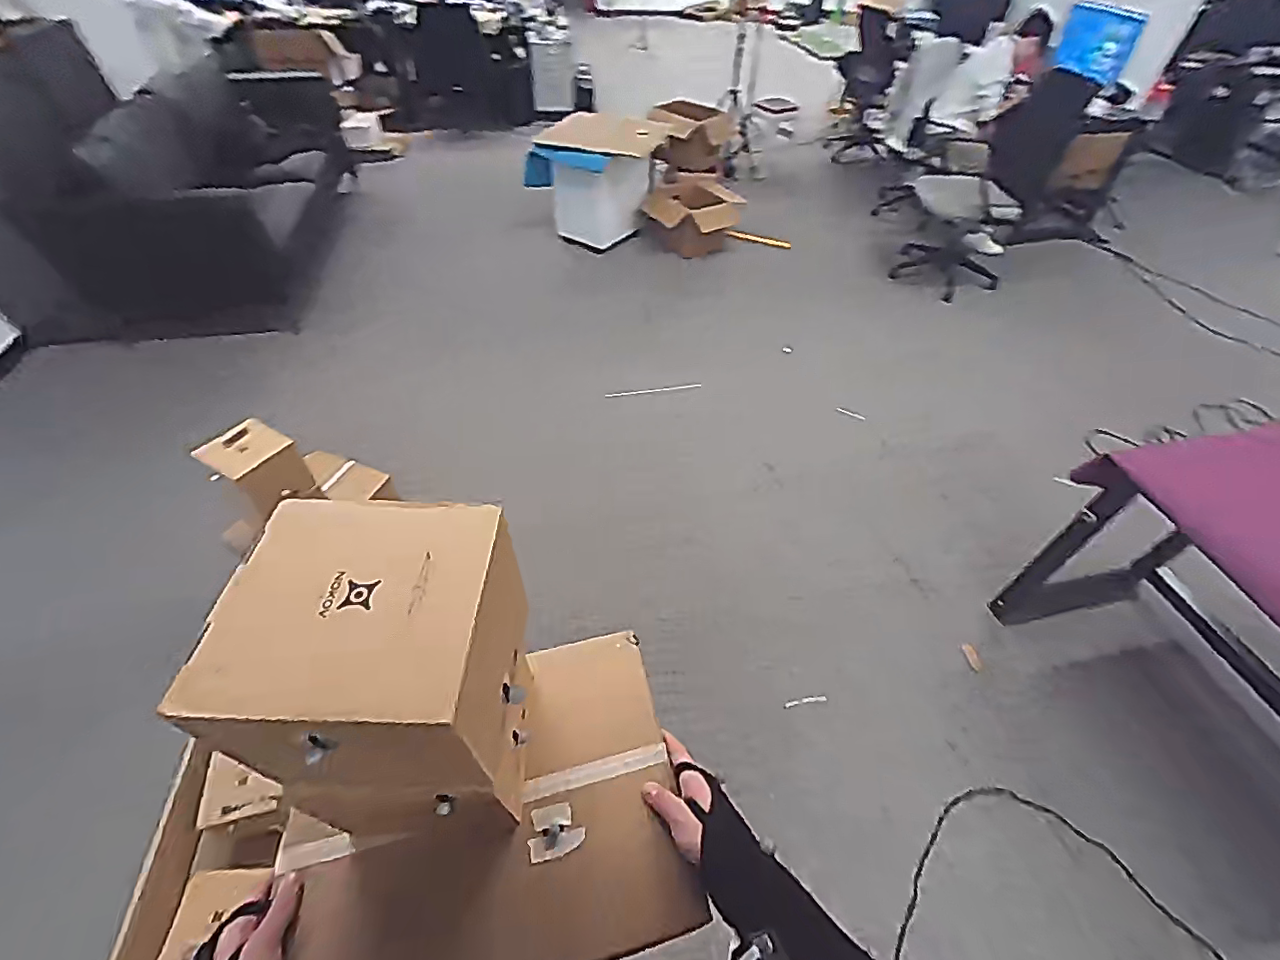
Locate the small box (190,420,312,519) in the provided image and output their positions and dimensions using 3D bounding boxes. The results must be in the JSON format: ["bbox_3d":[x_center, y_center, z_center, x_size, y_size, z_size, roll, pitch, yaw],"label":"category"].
[{"bbox_3d":[-1.027,-0.024,1.442,0.179,0.176,0.168,25,52,18],"label":"small box"}]

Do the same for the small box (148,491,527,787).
[{"bbox_3d":[-0.198,0.127,0.422,0.179,0.176,0.168,3,48,0],"label":"small box"}]

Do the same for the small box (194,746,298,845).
[{"bbox_3d":[-0.922,0.751,1.311,0.168,0.176,0.179,-10,49,-10],"label":"small box"}]

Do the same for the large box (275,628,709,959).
[{"bbox_3d":[-0.165,0.439,0.689,0.408,0.320,0.320,-10,51,-10],"label":"large box"}]

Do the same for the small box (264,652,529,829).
[{"bbox_3d":[-0.217,0.237,0.542,0.179,0.176,0.168,-1,47,-3],"label":"small box"}]
